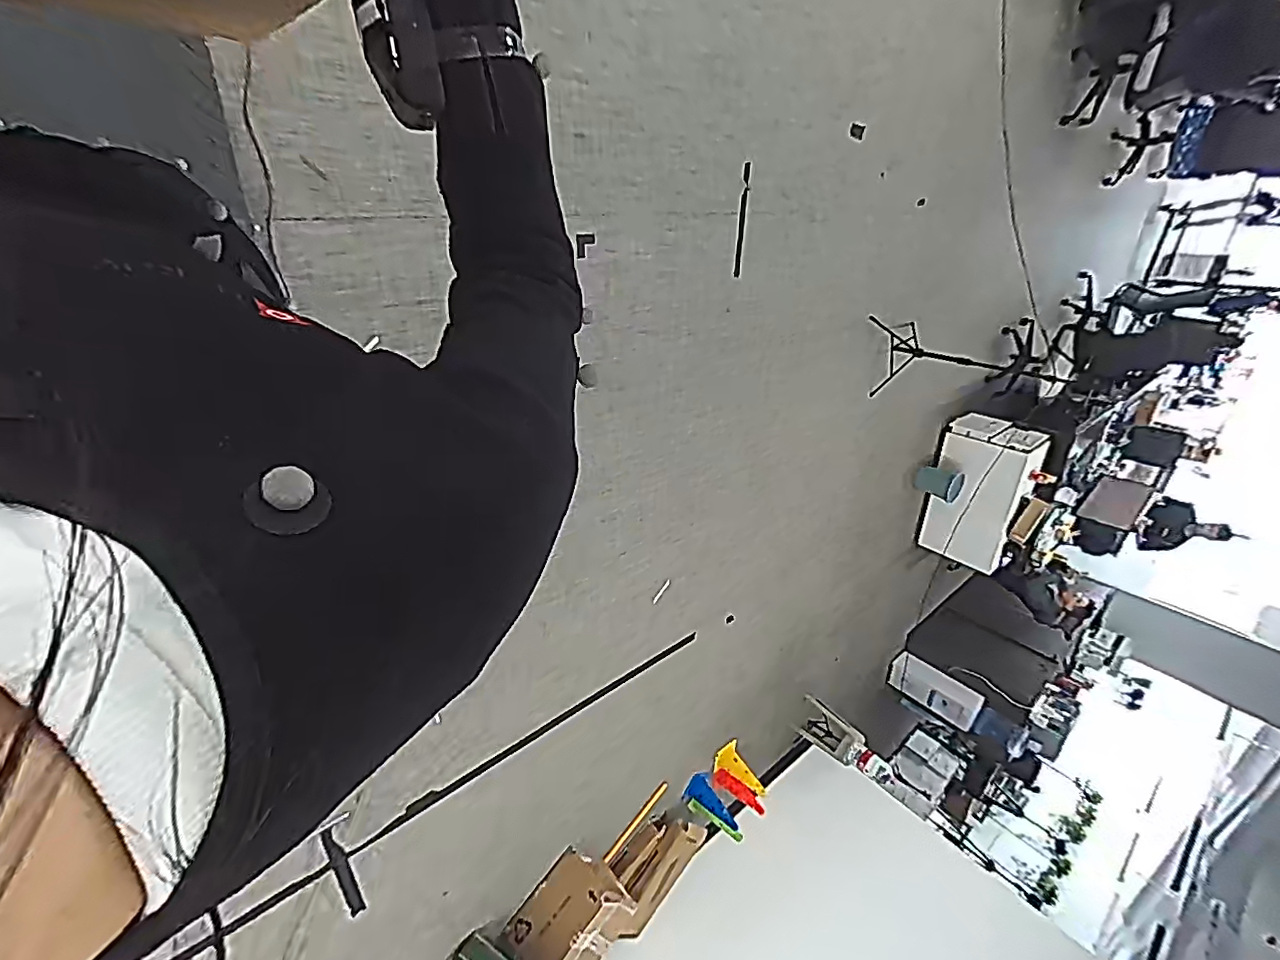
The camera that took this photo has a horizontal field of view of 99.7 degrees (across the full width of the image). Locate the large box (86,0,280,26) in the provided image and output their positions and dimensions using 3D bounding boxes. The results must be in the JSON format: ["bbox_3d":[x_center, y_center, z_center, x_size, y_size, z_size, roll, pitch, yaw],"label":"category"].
[{"bbox_3d":[-0.389,-0.410,0.190,0.408,0.320,0.320,-20,129,-36],"label":"large box"}]

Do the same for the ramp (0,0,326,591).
[{"bbox_3d":[-0.994,-0.318,1.035,0.509,0.206,0.991,-18,121,-34],"label":"ramp"}]
